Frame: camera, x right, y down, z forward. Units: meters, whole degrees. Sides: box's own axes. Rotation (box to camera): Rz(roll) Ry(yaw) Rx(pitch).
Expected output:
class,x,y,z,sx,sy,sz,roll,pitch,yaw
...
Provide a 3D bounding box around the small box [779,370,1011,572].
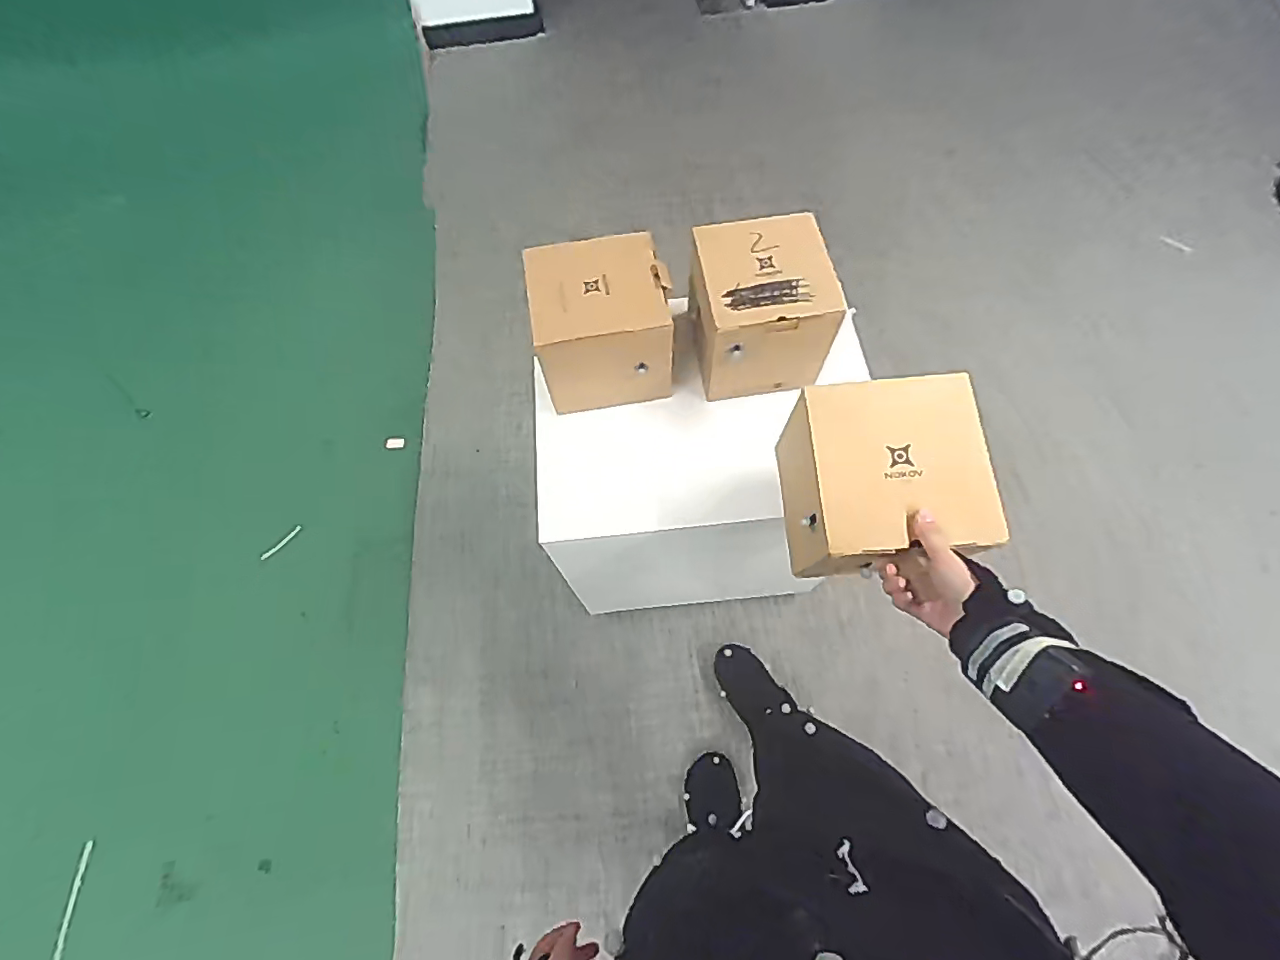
class,x,y,z,sx,sy,sz,roll,pitch,yaw
small box,0.258,0.000,0.596,0.168,0.176,0.179,-4,73,3

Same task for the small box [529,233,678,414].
class,x,y,z,sx,sy,sz,roll,pitch,yaw
small box,-0.049,-0.214,0.765,0.179,0.176,0.168,-10,65,-2
